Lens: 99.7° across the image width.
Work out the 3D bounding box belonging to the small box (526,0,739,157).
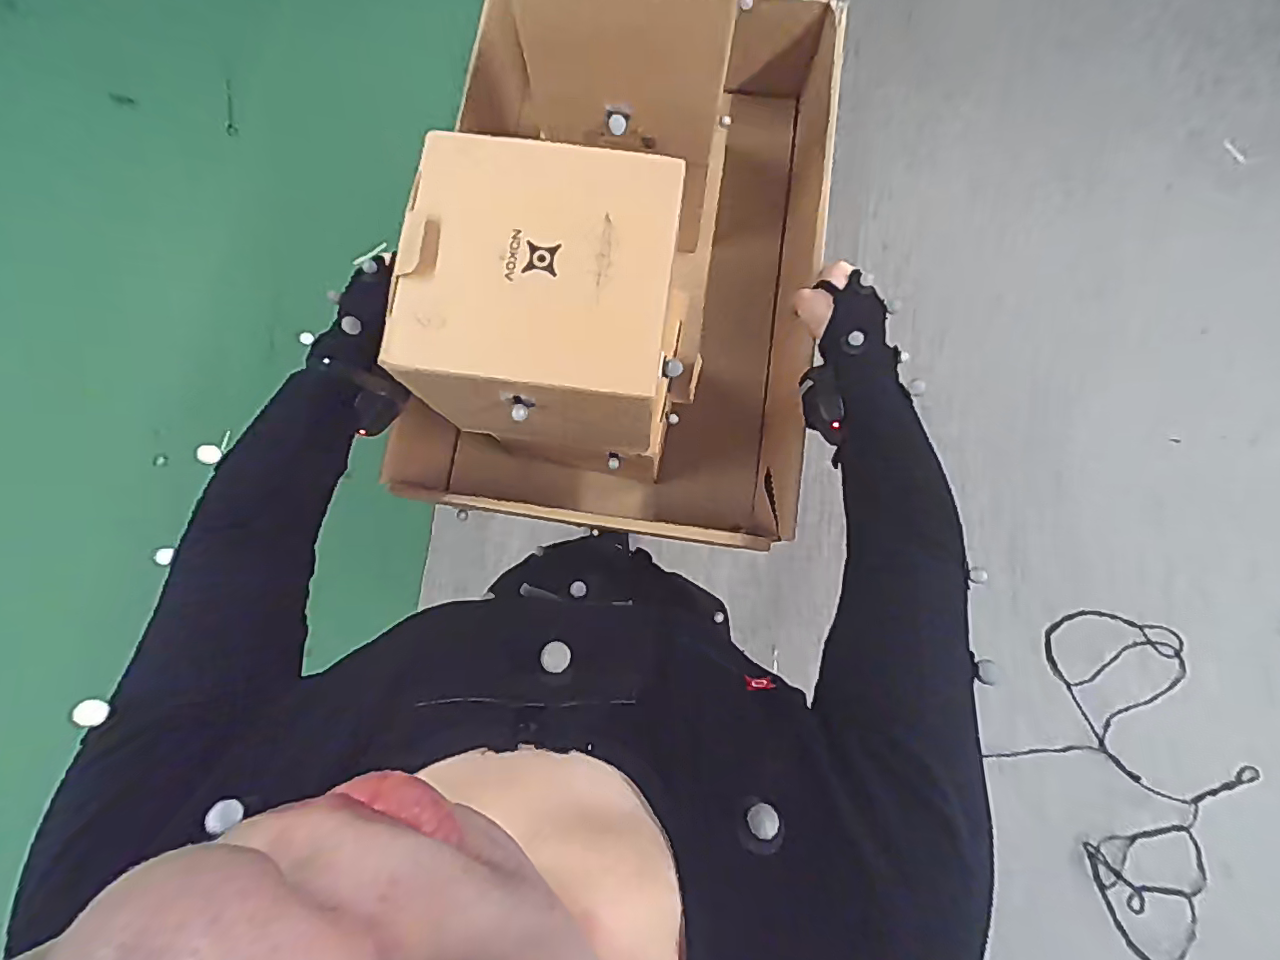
[{"bbox_3d":[0.001,-0.424,0.464,0.168,0.176,0.179,8,84,1],"label":"small box"}]

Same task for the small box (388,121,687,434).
[{"bbox_3d":[-0.065,-0.140,0.430,0.179,0.176,0.168,7,83,-1],"label":"small box"}]
